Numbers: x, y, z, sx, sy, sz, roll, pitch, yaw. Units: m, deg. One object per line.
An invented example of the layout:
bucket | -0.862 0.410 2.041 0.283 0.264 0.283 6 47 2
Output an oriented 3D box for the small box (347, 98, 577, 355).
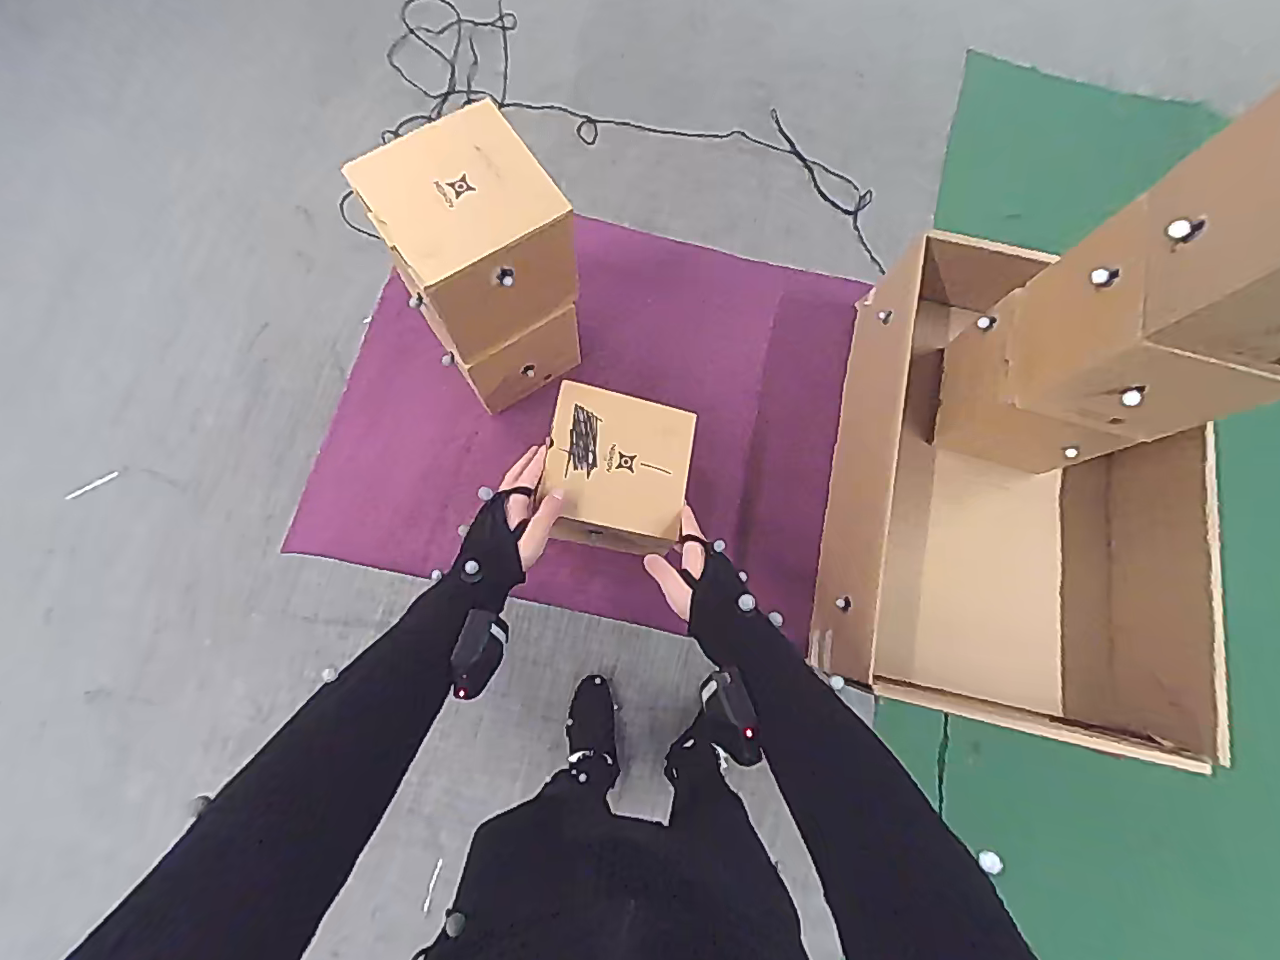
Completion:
small box | -0.186 -0.275 0.622 0.179 0.176 0.168 -33 82 -11

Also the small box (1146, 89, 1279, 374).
small box | 0.556 -0.201 0.427 0.168 0.176 0.179 16 77 1

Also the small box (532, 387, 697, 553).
small box | -0.033 -0.003 0.730 0.179 0.176 0.168 11 75 -1

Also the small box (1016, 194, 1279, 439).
small box | 0.547 -0.161 0.586 0.168 0.176 0.179 15 76 1

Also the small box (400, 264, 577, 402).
small box | -0.203 -0.233 0.779 0.168 0.176 0.179 -33 80 -12
